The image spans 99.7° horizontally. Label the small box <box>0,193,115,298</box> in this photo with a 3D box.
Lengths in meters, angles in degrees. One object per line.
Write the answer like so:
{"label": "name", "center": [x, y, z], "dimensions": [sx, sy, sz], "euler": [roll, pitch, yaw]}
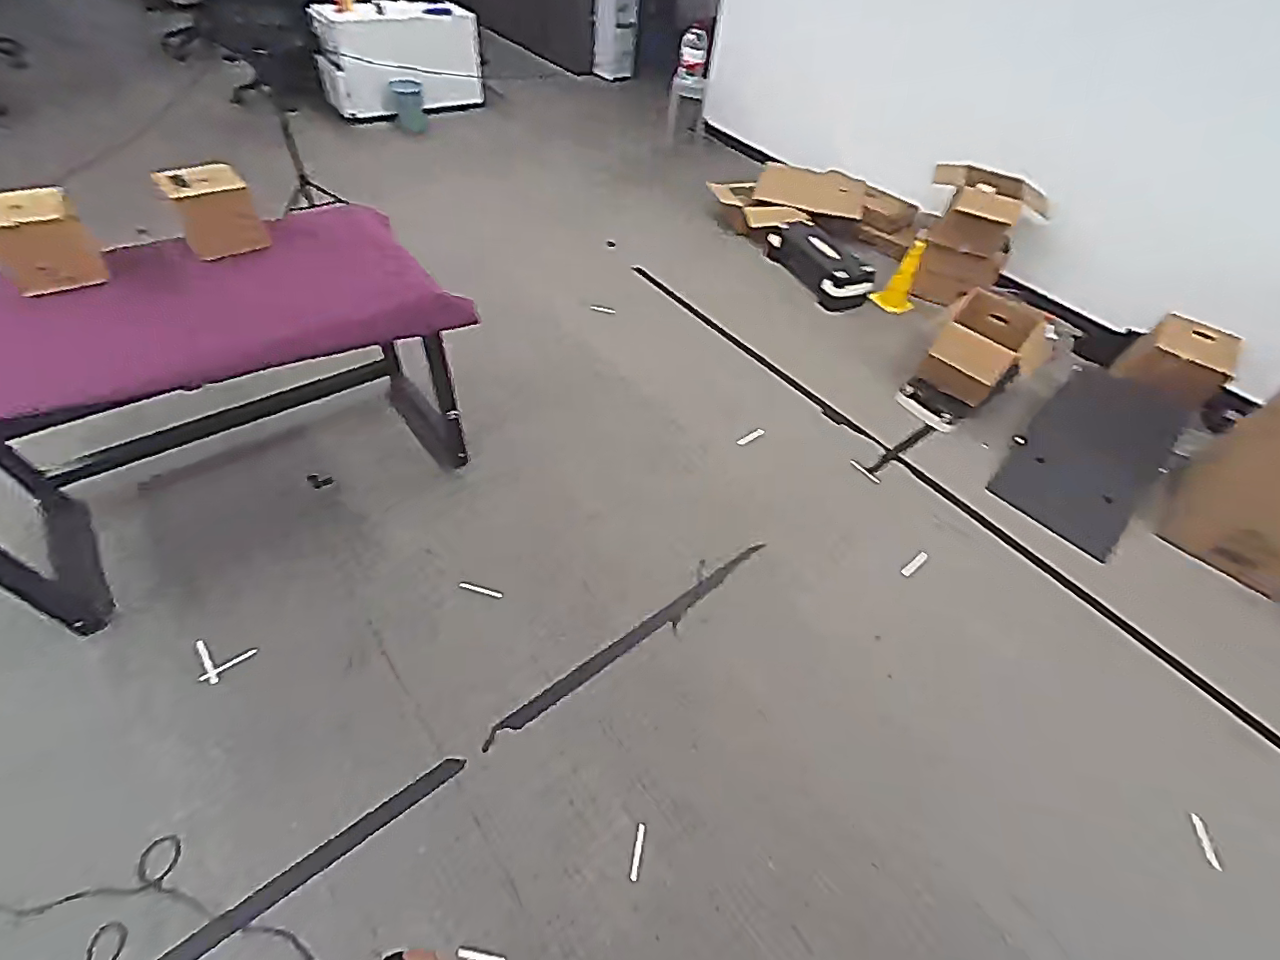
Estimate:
{"label": "small box", "center": [-1.449, -0.576, 1.331], "dimensions": [0.168, 0.176, 0.179], "euler": [-26, 58, -27]}
